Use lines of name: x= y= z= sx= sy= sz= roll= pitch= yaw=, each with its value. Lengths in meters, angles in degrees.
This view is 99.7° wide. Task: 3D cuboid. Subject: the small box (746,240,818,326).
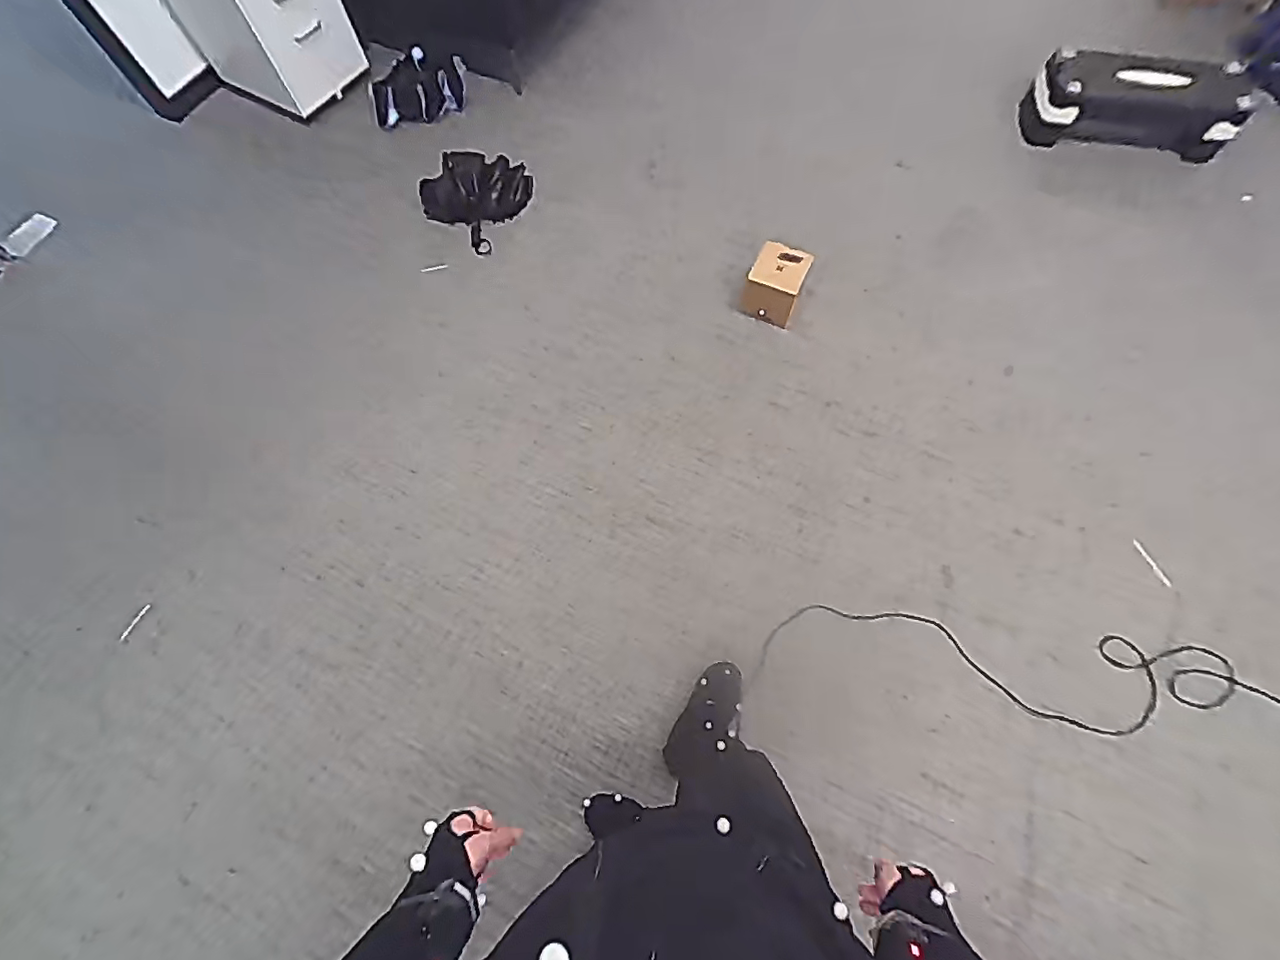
small box: x=0.459 y=-0.643 z=1.776 sx=0.168 sy=0.176 sz=0.179 roll=24 pitch=71 yaw=13
